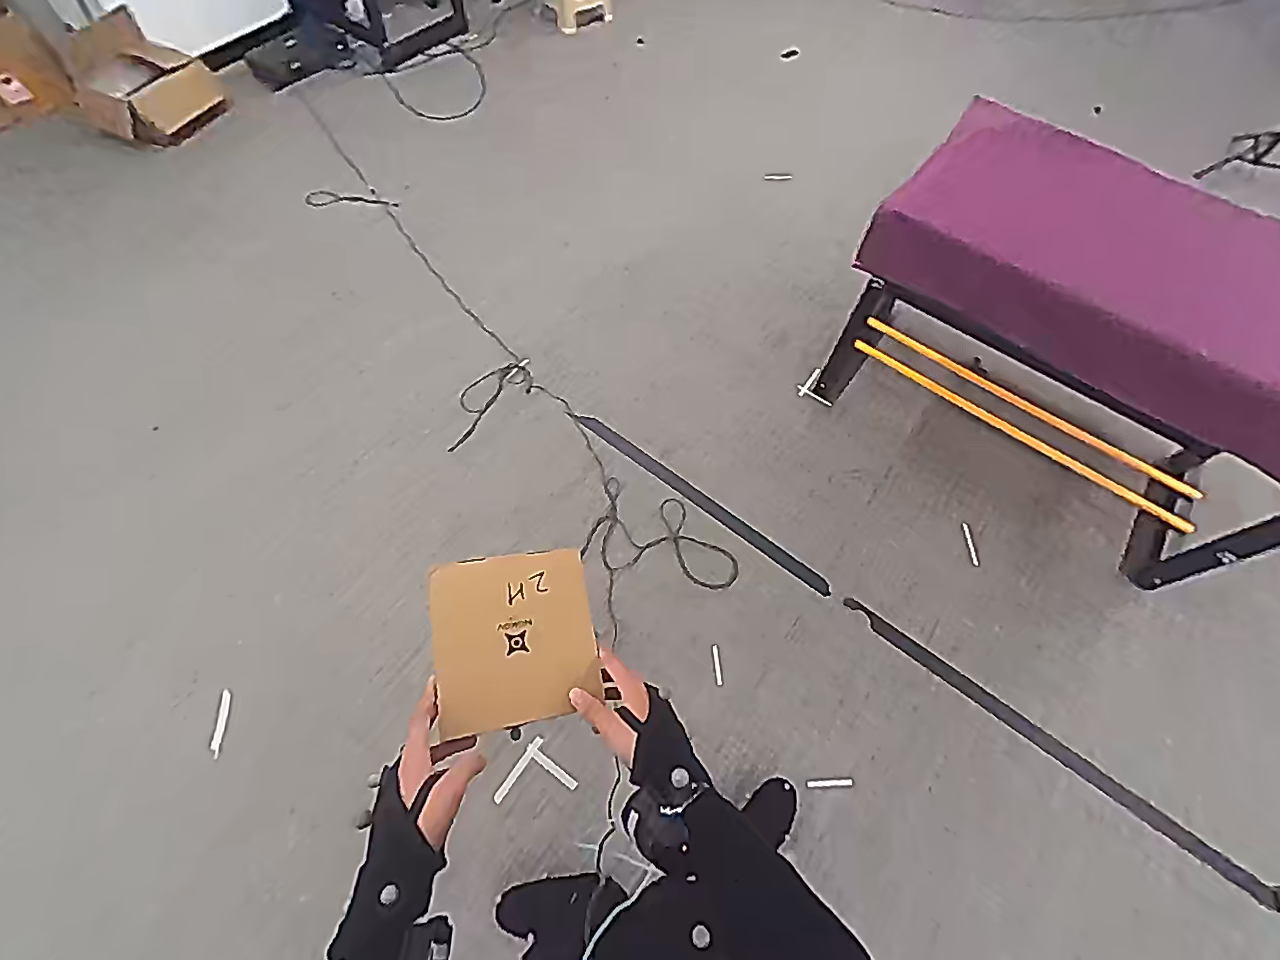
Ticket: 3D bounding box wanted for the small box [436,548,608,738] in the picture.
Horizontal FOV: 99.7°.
[{"bbox_3d":[-0.146,0.192,0.637,0.168,0.176,0.179,-3,67,-20],"label":"small box"}]
